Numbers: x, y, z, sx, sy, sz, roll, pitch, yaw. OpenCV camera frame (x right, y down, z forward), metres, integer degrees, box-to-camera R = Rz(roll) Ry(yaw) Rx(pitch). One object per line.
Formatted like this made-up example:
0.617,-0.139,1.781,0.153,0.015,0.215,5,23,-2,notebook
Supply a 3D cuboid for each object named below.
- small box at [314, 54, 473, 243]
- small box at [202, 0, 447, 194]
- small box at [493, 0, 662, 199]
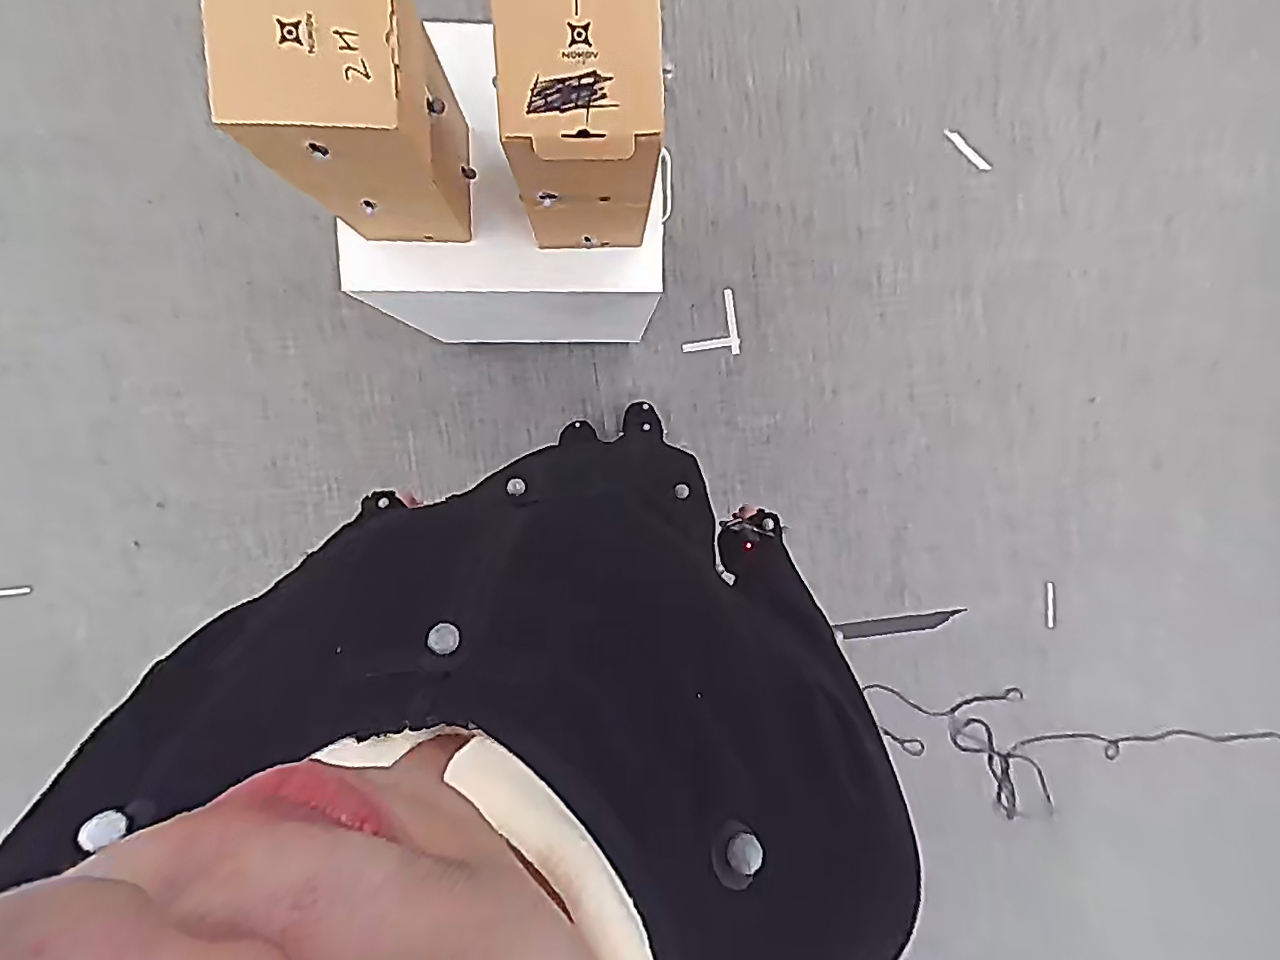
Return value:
-0.335,-0.452,0.751,0.168,0.176,0.179,0,95,-4,small box
-0.324,-0.429,0.588,0.179,0.176,0.168,-1,97,-4,small box
-0.064,-0.434,0.607,0.168,0.176,0.179,-2,96,-3,small box
